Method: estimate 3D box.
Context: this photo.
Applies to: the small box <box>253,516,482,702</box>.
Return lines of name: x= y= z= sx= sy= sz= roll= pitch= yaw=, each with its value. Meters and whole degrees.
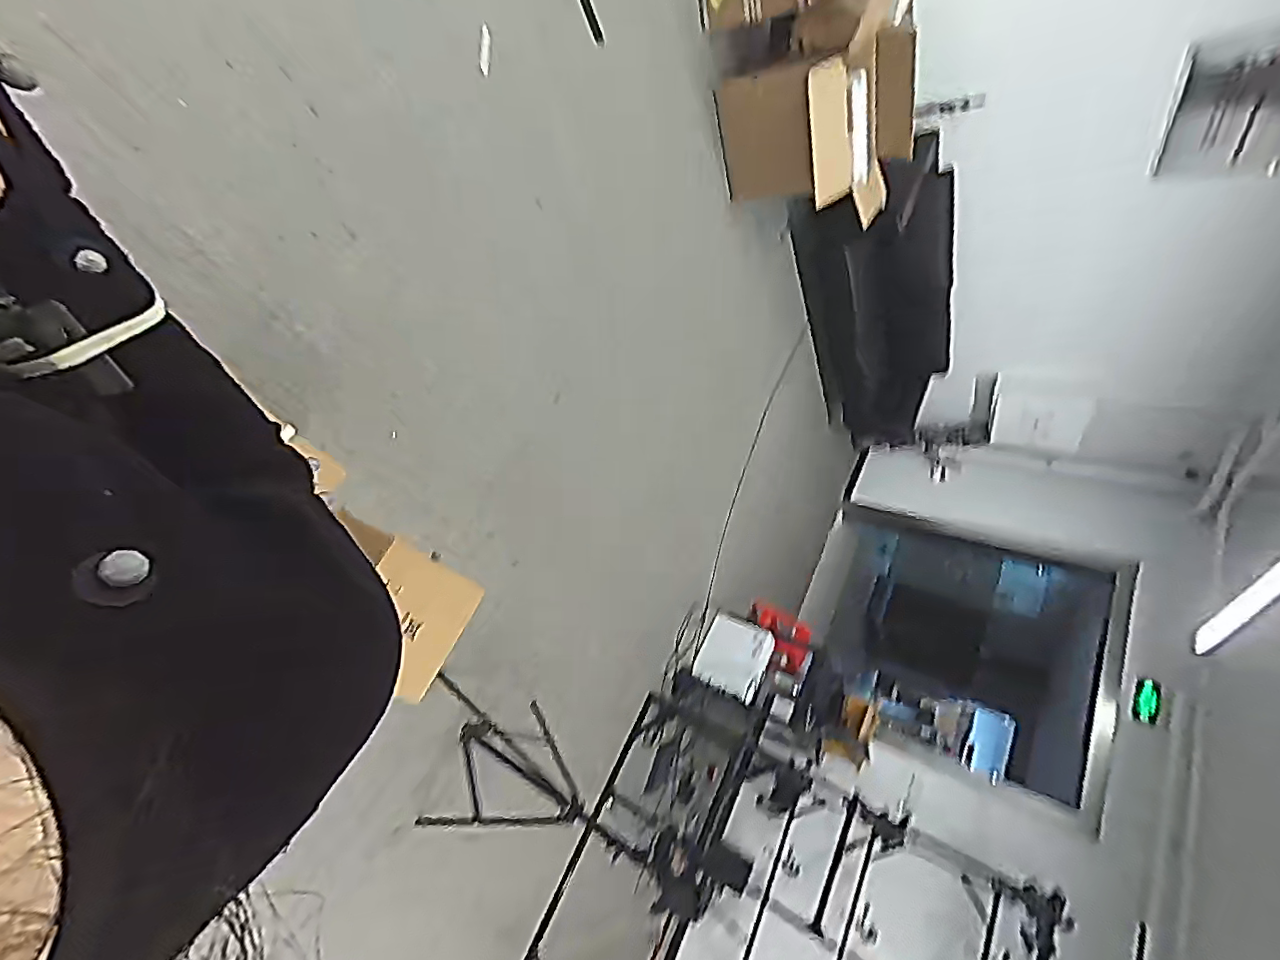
small box: x=-0.357 y=0.167 z=0.720 sx=0.168 sy=0.176 sz=0.179 roll=-62 pitch=142 yaw=-20
